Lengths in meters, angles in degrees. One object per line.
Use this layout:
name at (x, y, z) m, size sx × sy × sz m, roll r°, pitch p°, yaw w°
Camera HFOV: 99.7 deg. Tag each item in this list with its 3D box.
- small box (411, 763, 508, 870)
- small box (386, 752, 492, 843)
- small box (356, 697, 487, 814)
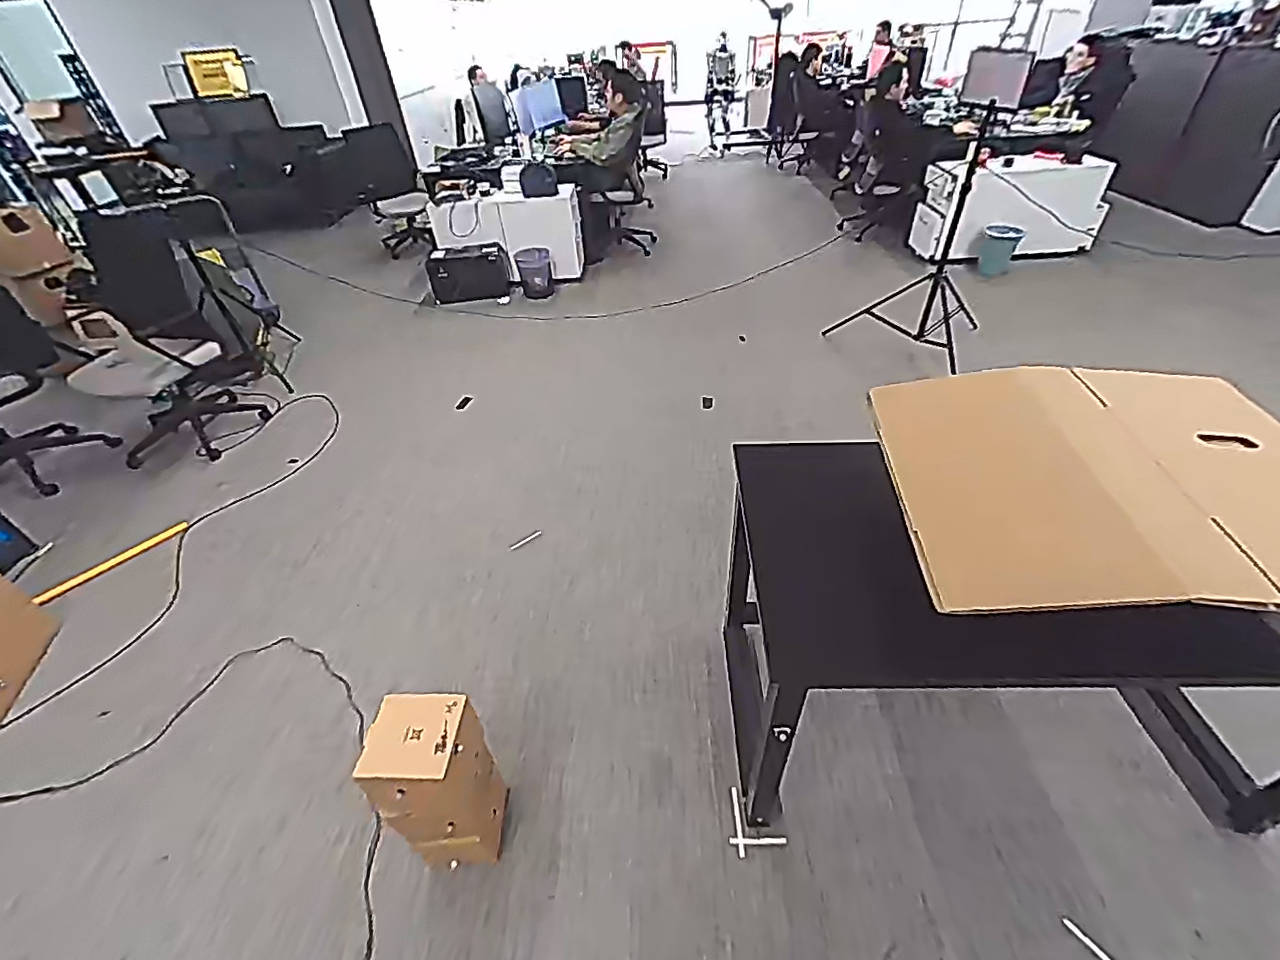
small box at (-0.425, 0.815, 1.309) m, size 0.168 × 0.176 × 0.179 m, roll -4°, pitch 41°, yaw 1°
small box at (-0.437, 0.687, 1.210) m, size 0.168 × 0.176 × 0.179 m, roll -6°, pitch 39°, yaw -3°
small box at (-0.432, 0.562, 1.103) m, size 0.179 × 0.176 × 0.168 m, roll -2°, pitch 40°, yaw 3°
